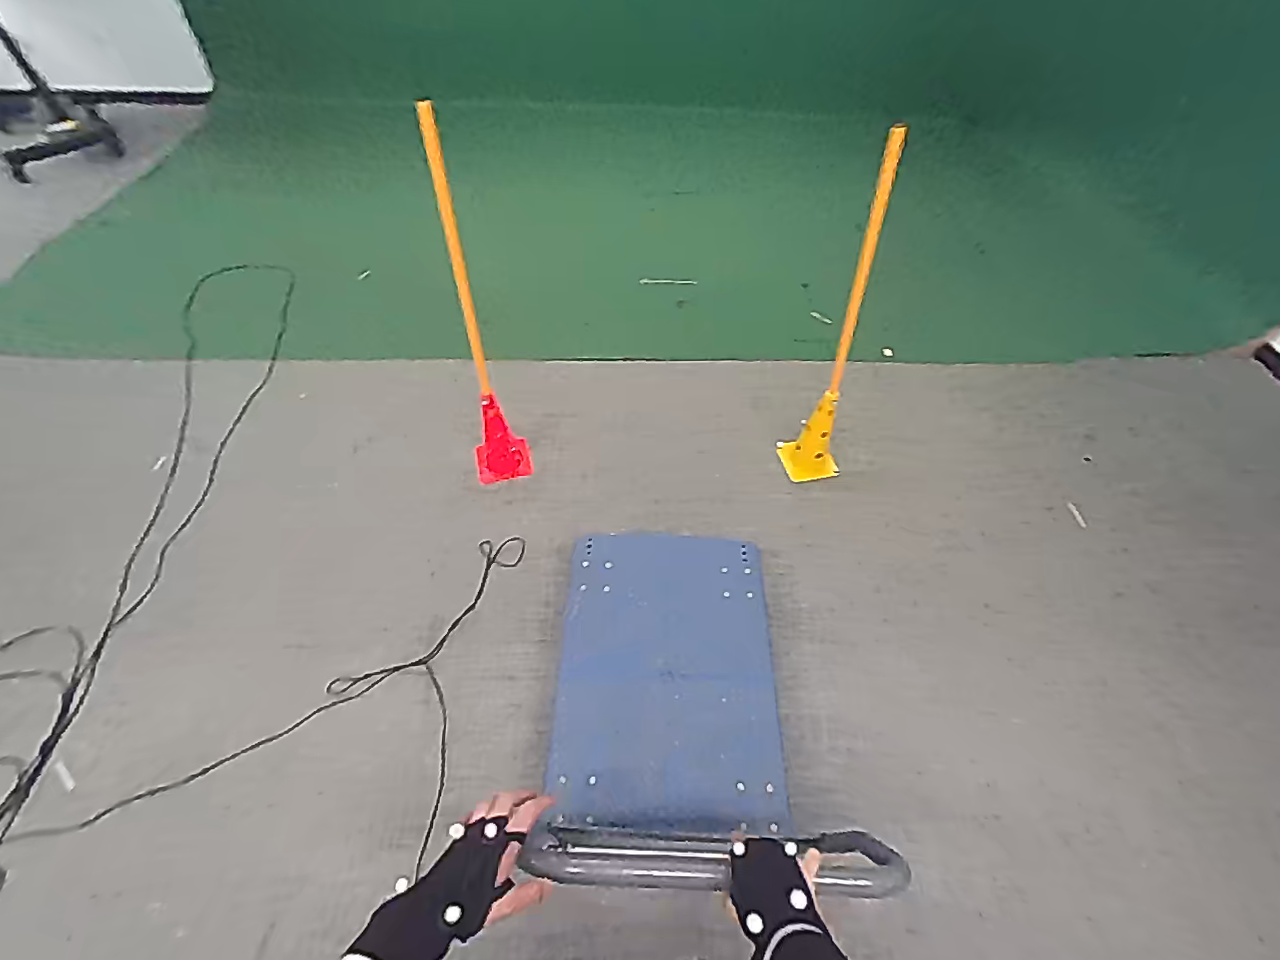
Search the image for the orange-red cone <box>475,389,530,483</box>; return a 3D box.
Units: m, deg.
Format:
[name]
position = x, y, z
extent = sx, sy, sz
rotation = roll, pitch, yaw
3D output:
[orange-red cone]
position = -0.529, -0.181, 1.947
extent = 0.199, 0.360, 0.198
rotation = -13, 53, -10
